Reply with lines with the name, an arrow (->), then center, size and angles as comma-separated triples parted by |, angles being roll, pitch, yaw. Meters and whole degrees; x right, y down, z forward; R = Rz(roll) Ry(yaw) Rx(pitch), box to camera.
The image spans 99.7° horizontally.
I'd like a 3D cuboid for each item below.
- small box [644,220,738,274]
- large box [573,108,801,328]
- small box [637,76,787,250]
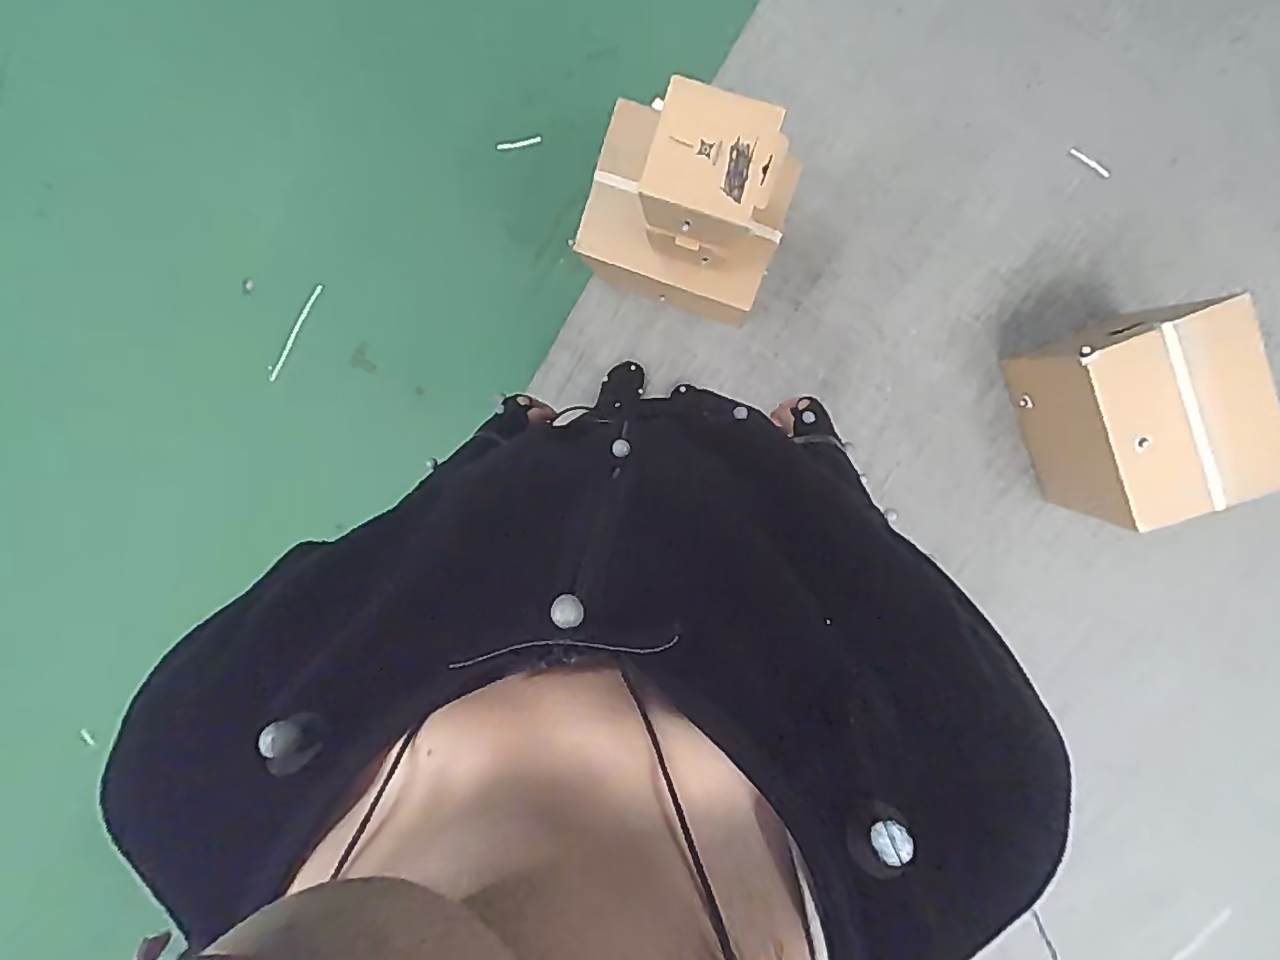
small box -> 0.120, -0.510, 1.019 | 0.168, 0.176, 0.179 | 20, 101, 2
large box -> 0.108, -0.575, 1.259 | 0.408, 0.320, 0.320 | 20, 99, 3
small box -> 0.109, -0.484, 0.857 | 0.179, 0.176, 0.168 | 19, 101, 2
